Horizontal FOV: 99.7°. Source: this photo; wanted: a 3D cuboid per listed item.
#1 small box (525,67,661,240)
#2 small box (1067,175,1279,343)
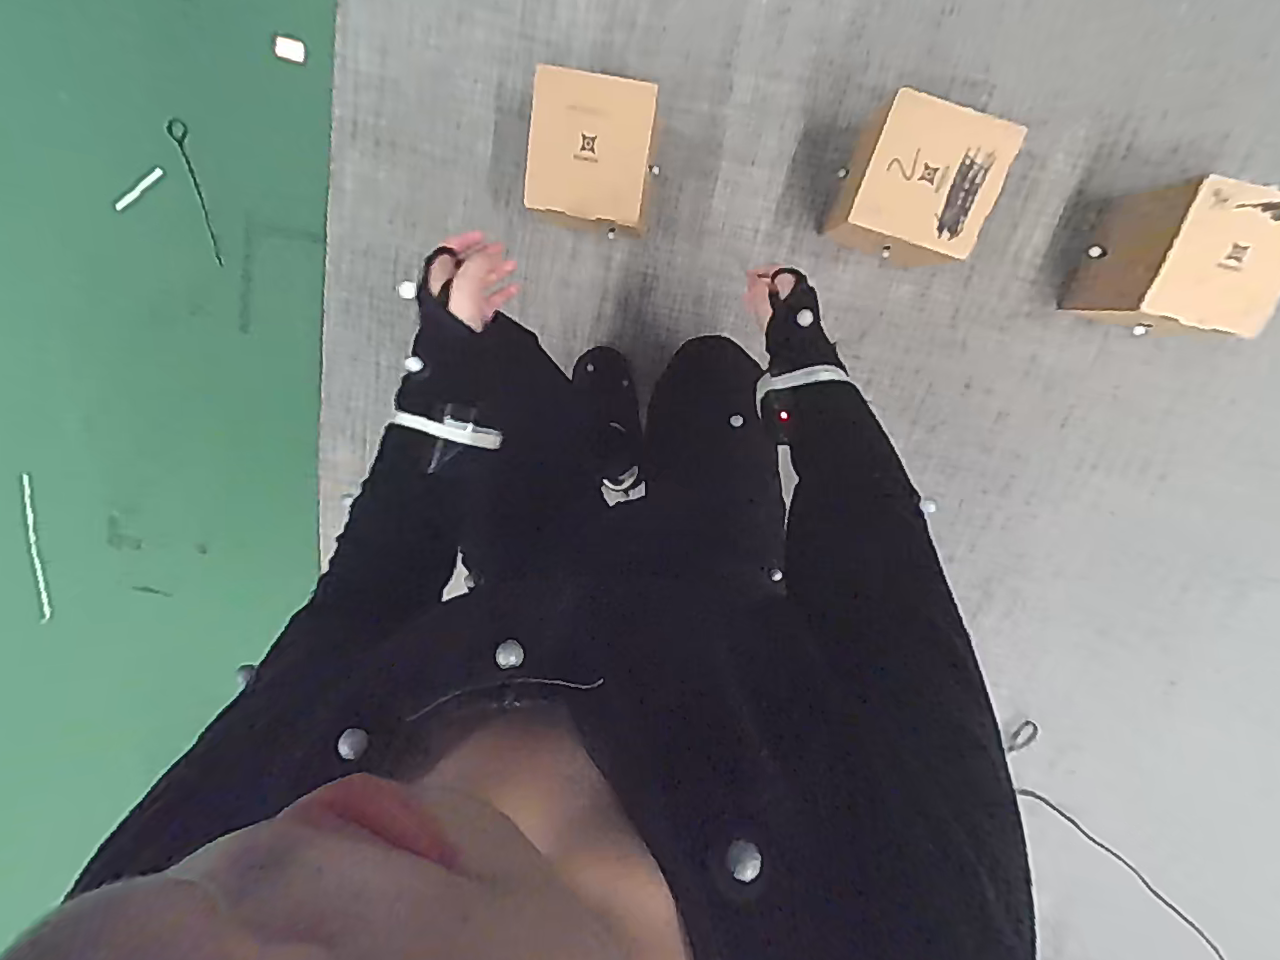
[{"bbox_3d":[-0.063,-0.472,0.812,0.168,0.176,0.179,11,107,1],"label":"small box"},{"bbox_3d":[0.779,-0.311,0.785,0.168,0.176,0.179,15,109,0],"label":"small box"}]
